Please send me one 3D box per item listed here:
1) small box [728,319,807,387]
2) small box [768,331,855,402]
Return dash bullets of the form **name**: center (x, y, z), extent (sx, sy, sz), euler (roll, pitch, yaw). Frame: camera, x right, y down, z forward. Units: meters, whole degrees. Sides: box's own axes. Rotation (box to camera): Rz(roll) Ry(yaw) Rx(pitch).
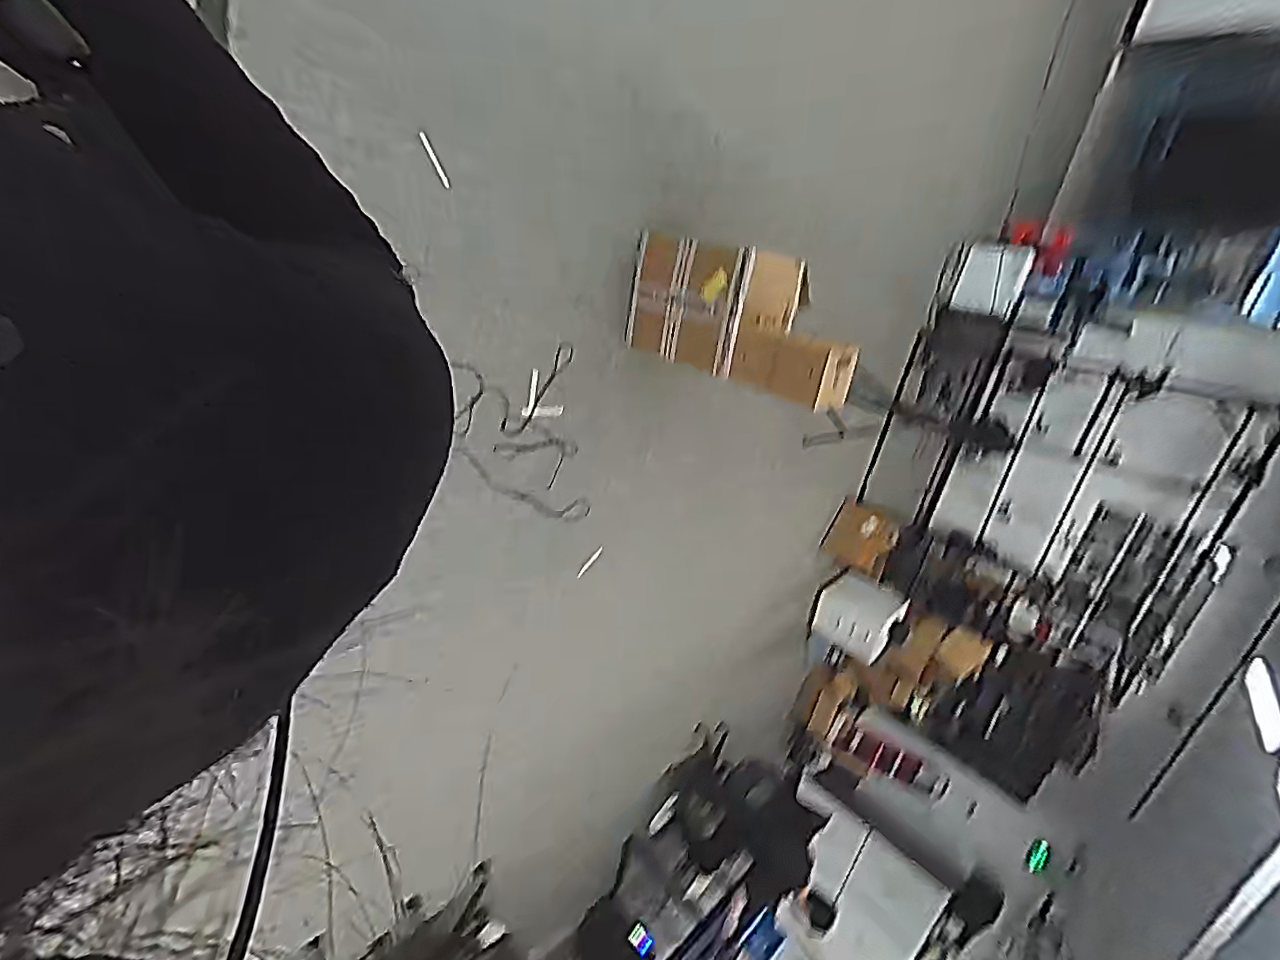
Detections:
- **small box**: center (0.406, -0.411, 1.736), extent (0.168, 0.176, 0.179), euler (-15, 123, -38)
- **small box**: center (0.509, -0.347, 1.623), extent (0.168, 0.176, 0.179), euler (-15, 122, -38)
